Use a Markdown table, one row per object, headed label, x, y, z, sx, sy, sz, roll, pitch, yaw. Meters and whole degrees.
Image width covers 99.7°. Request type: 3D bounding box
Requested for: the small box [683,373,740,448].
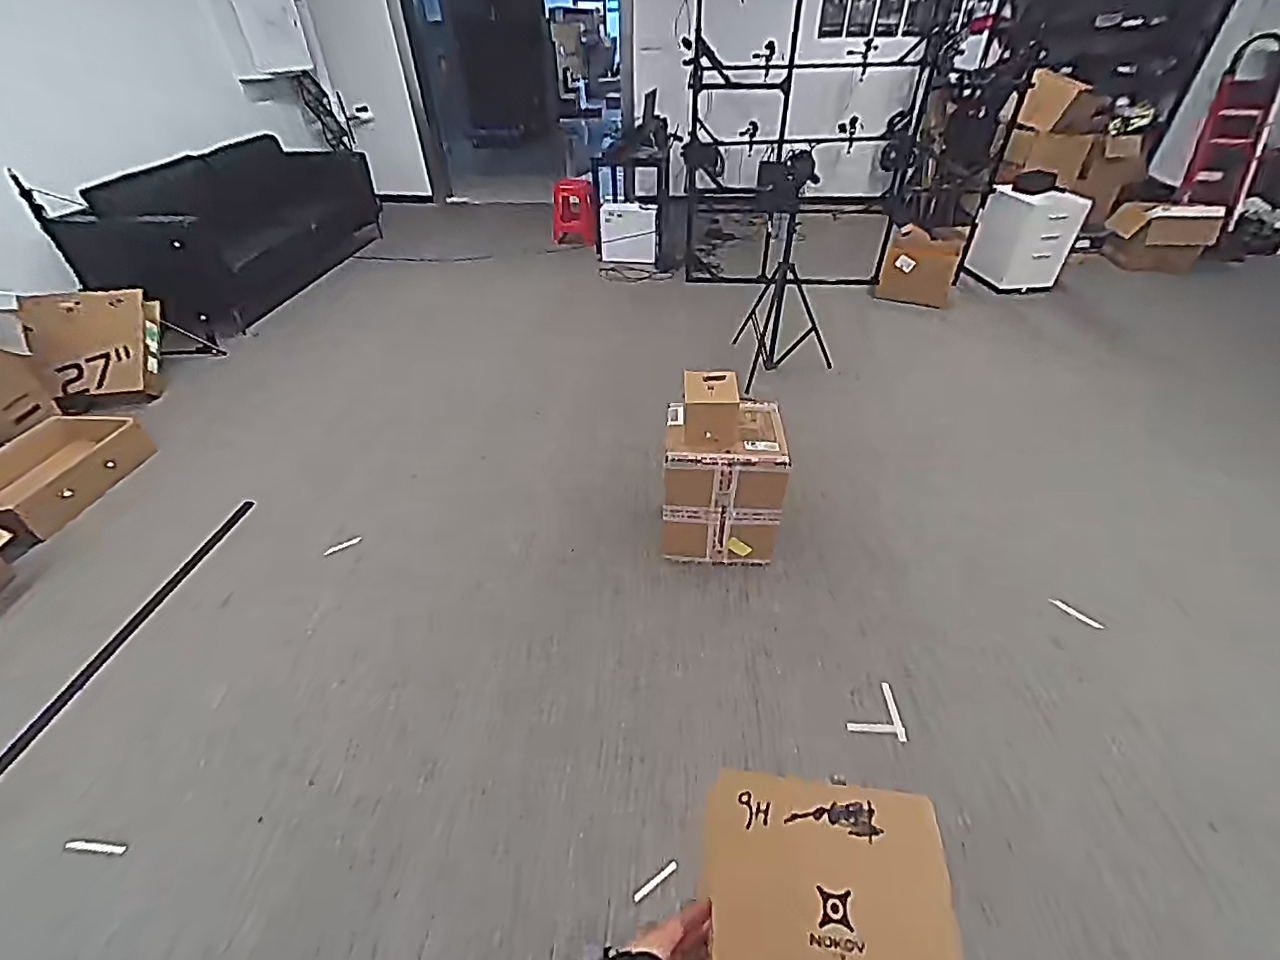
| label | x | y | z | sx | sy | sz | roll | pitch | yaw |
| --- | --- | --- | --- | --- | --- | --- | --- | --- | --- |
| small box | 0.224 | -0.223 | 1.725 | 0.168 | 0.176 | 0.179 | 1 | 44 | 3 |
